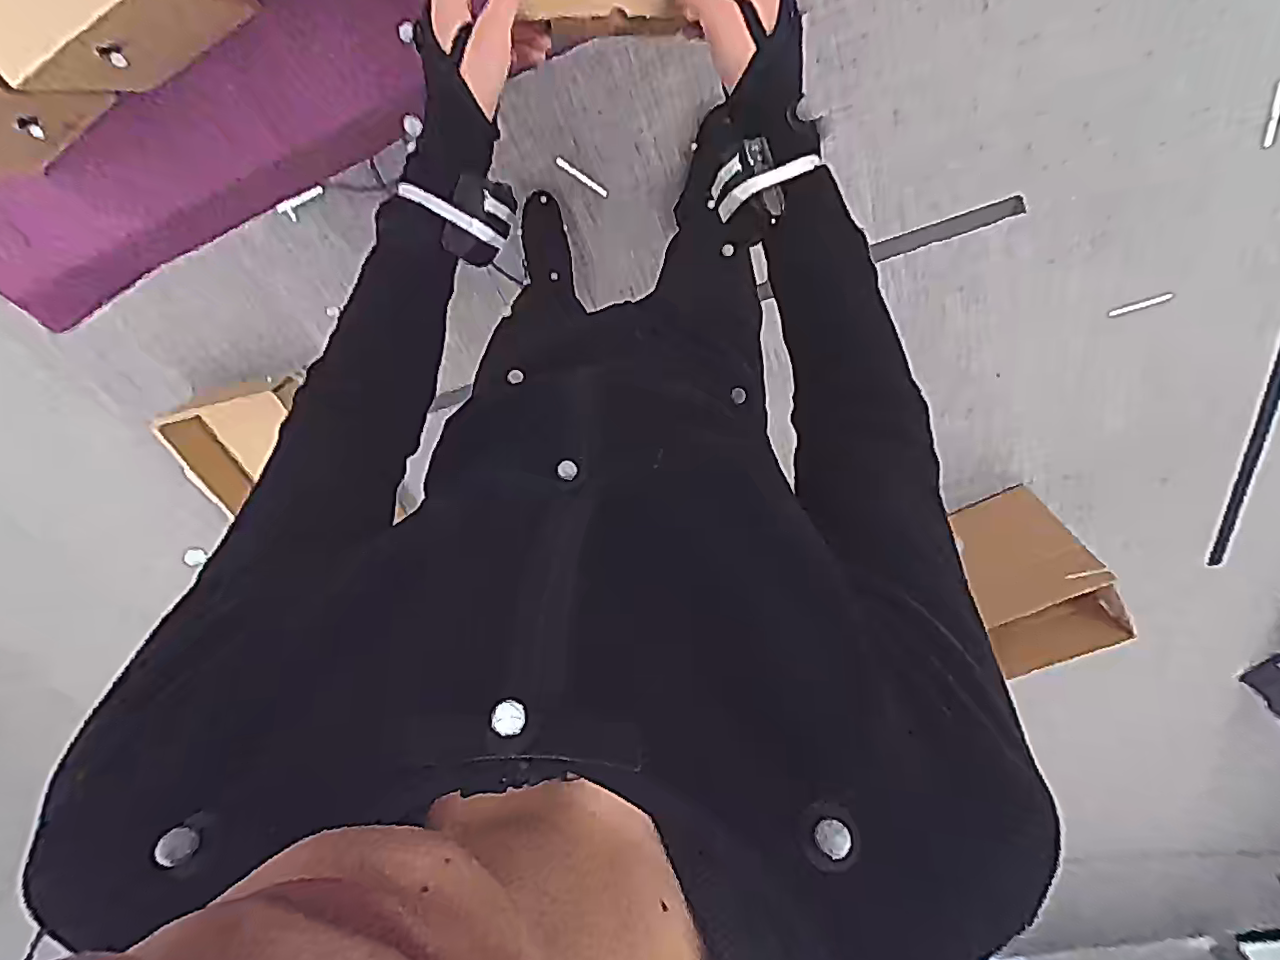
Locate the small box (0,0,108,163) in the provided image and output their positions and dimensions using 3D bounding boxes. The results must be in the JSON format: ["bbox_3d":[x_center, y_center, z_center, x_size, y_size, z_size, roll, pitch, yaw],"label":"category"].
[{"bbox_3d":[-0.701,-0.428,0.525,0.168,0.176,0.179,-24,122,15],"label":"small box"}]
